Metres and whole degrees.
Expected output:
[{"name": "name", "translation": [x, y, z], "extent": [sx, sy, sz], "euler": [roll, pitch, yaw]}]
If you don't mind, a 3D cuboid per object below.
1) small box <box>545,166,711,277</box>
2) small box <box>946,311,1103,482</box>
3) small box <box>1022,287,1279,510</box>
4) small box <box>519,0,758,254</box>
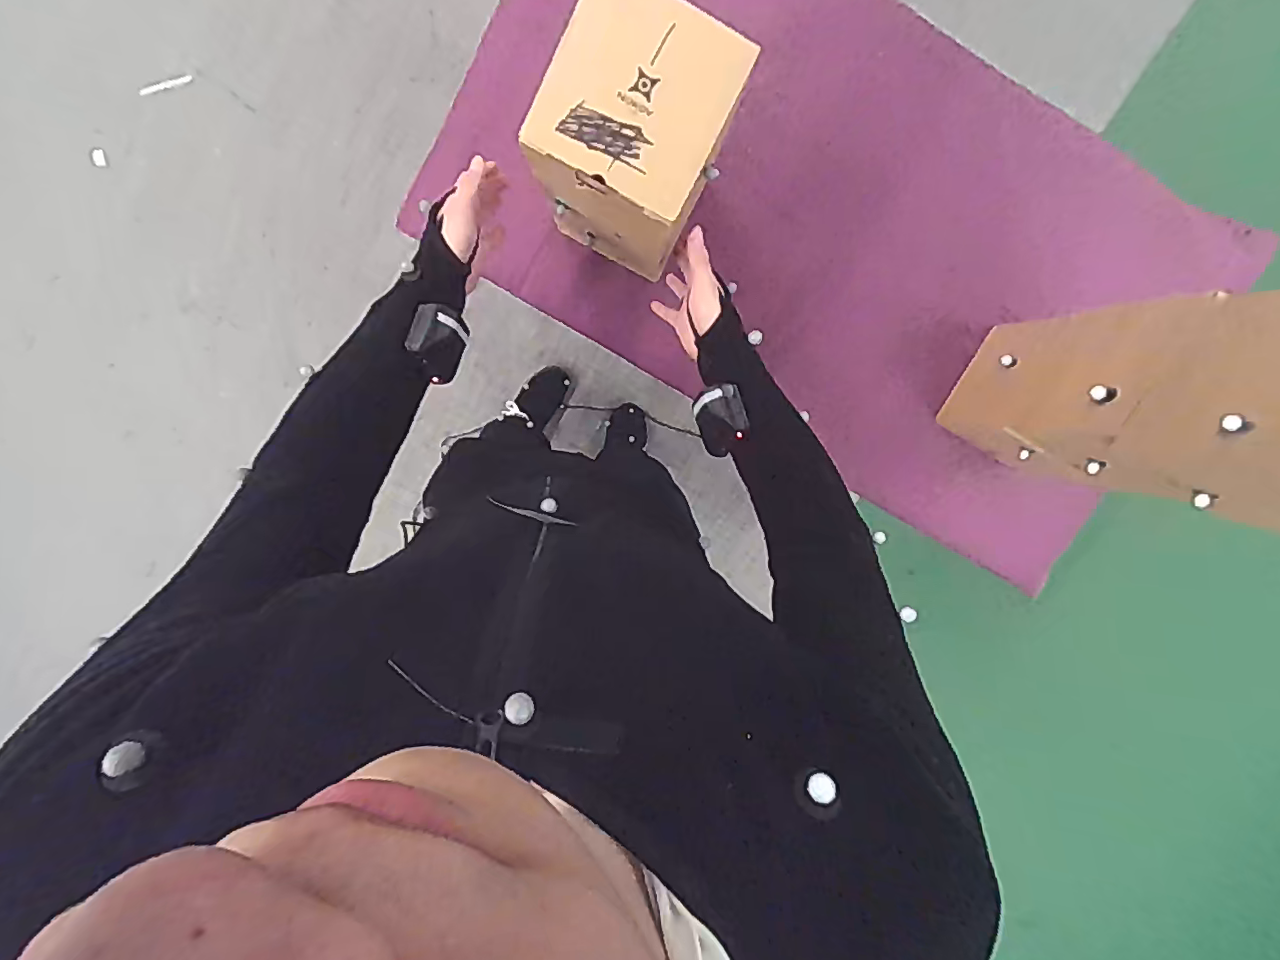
[{"name": "small box", "translation": [-0.007, -0.400, 0.731], "extent": [0.168, 0.176, 0.179], "euler": [26, 99, -6]}, {"name": "small box", "translation": [0.598, -0.121, 0.797], "extent": [0.168, 0.176, 0.179], "euler": [28, 98, -5]}, {"name": "small box", "translation": [0.602, -0.093, 0.634], "extent": [0.168, 0.176, 0.179], "euler": [30, 98, -7]}, {"name": "small box", "translation": [-0.003, -0.368, 0.570], "extent": [0.168, 0.176, 0.179], "euler": [27, 98, -6]}]
